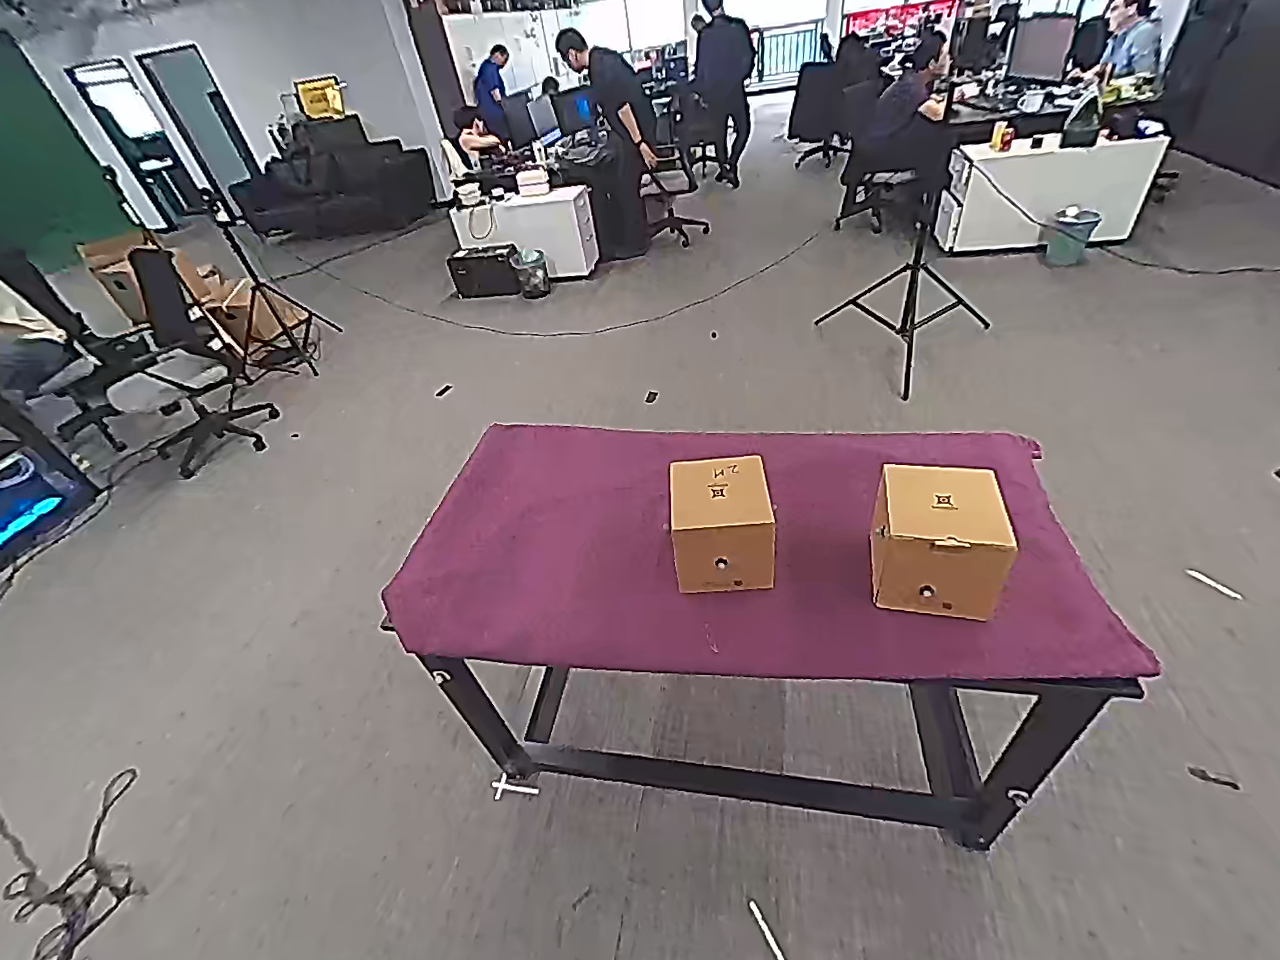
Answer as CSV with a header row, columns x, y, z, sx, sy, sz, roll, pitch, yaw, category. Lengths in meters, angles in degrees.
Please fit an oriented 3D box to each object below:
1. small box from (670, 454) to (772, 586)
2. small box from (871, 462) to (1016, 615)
x,y,z,sx,sy,sz,roll,pitch,yaw,category
0.144,0.077,0.973,0.168,0.176,0.179,-5,40,6,small box
0.478,0.092,0.883,0.168,0.176,0.179,4,41,17,small box
